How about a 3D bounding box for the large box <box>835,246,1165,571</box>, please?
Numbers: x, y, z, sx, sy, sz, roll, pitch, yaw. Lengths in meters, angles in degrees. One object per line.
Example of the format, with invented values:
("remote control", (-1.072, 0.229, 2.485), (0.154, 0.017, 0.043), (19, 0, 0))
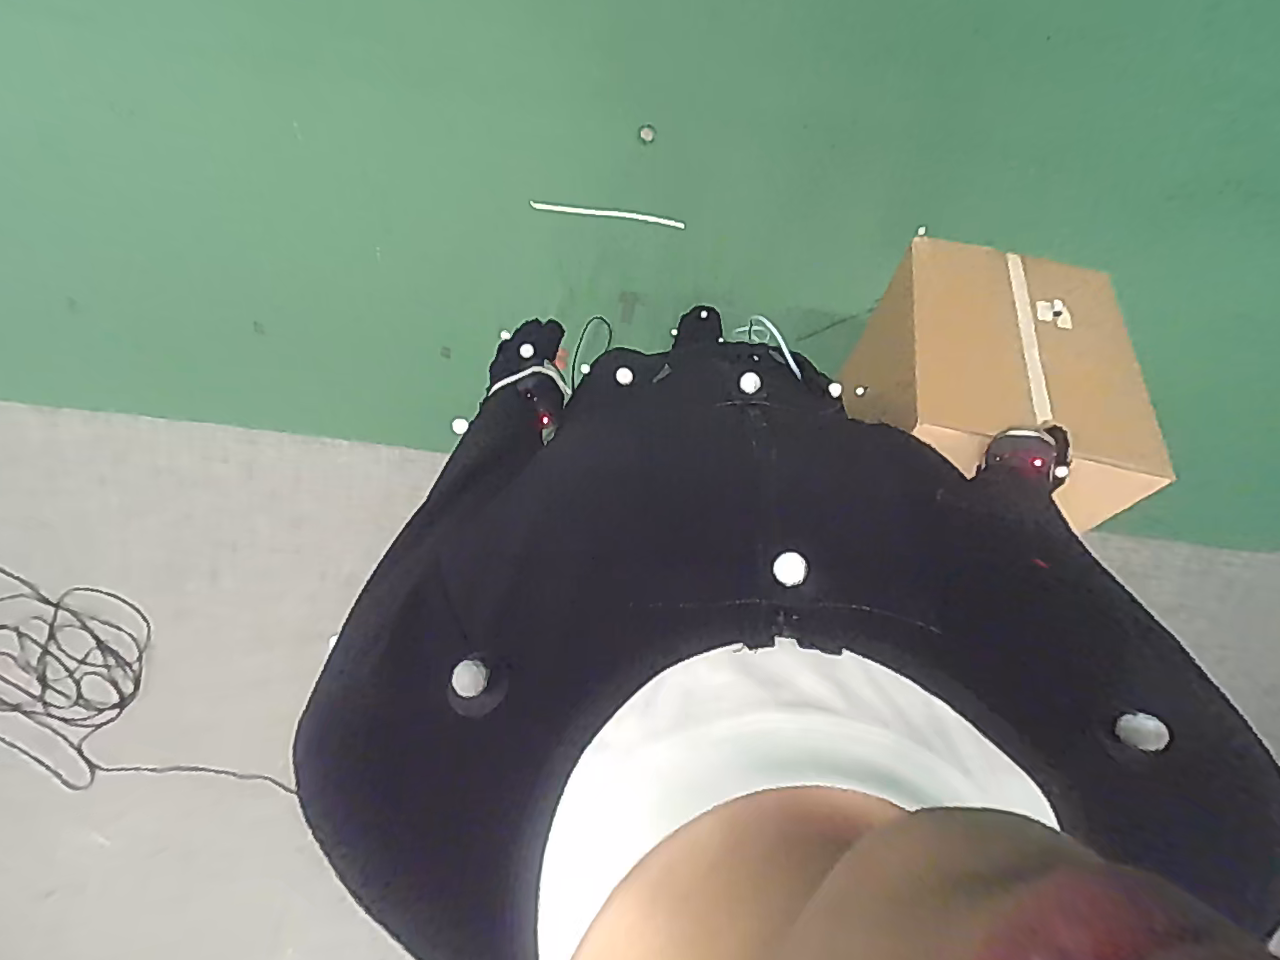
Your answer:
("large box", (0.535, -0.113, 0.903), (0.320, 0.408, 0.320), (14, 148, 4))
